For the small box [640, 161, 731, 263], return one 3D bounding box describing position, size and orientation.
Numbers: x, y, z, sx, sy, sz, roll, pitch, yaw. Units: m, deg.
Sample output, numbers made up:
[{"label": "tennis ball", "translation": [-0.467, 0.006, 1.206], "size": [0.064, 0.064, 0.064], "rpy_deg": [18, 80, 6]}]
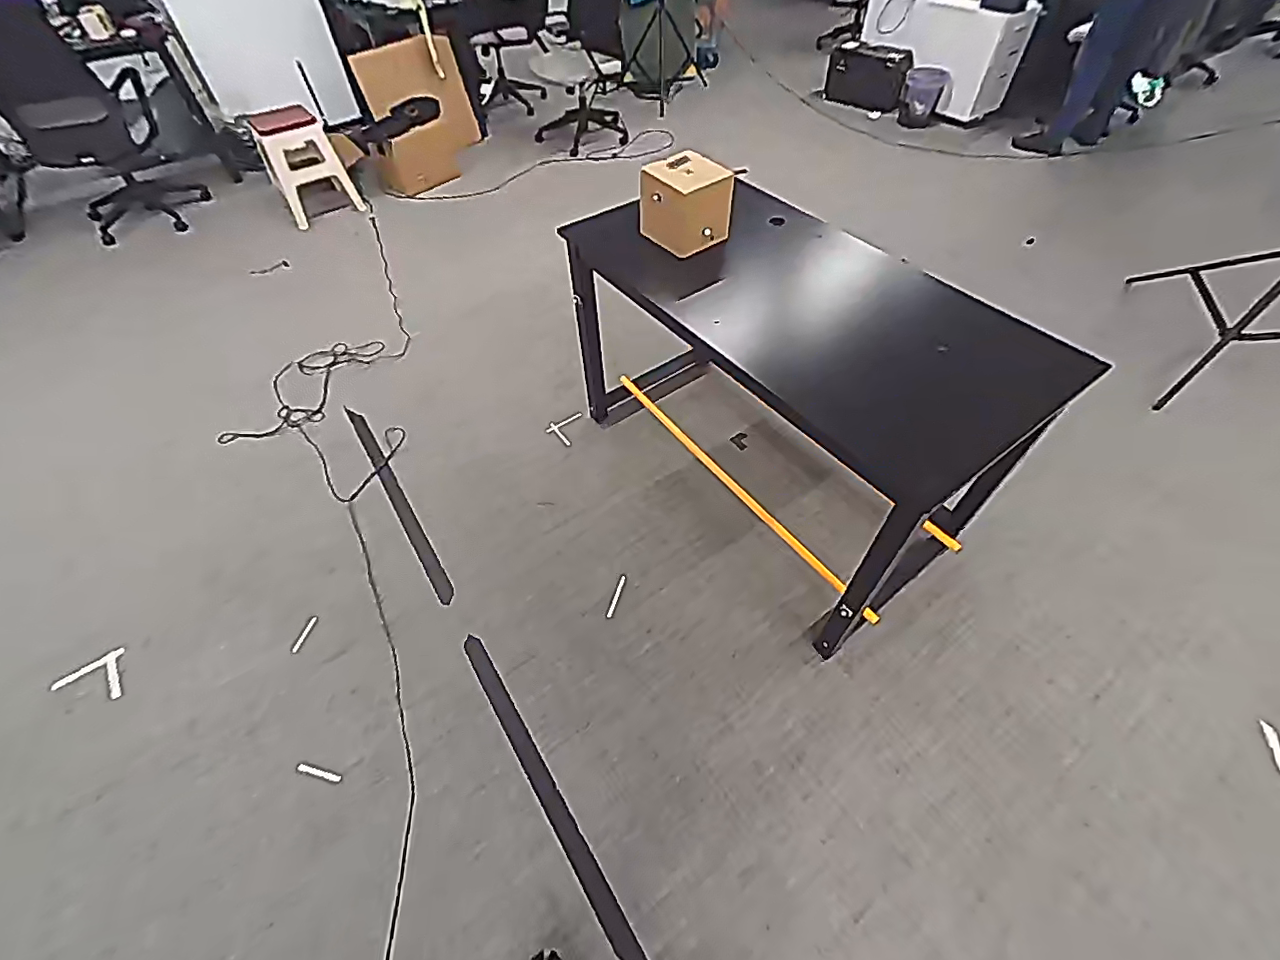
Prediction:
[{"label": "small box", "translation": [0.113, -0.699, 1.414], "size": [0.168, 0.176, 0.179], "rpy_deg": [-32, 58, -22]}]
